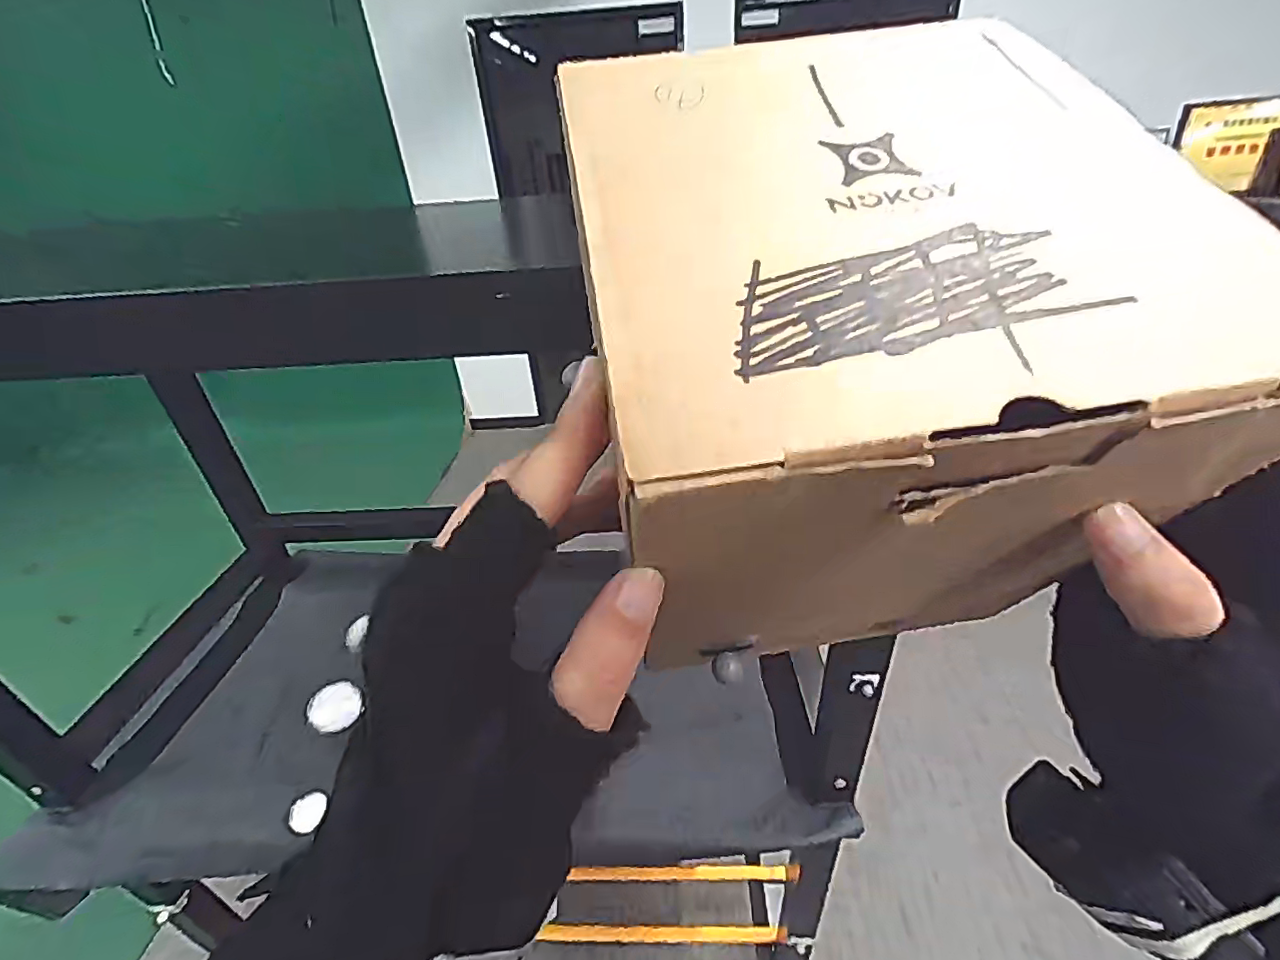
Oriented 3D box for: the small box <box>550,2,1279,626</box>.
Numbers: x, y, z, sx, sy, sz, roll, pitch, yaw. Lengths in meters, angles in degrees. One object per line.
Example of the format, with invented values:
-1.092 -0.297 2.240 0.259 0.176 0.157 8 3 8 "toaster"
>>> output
0.063 -0.051 0.222 0.168 0.176 0.179 -8 58 -3 "small box"
